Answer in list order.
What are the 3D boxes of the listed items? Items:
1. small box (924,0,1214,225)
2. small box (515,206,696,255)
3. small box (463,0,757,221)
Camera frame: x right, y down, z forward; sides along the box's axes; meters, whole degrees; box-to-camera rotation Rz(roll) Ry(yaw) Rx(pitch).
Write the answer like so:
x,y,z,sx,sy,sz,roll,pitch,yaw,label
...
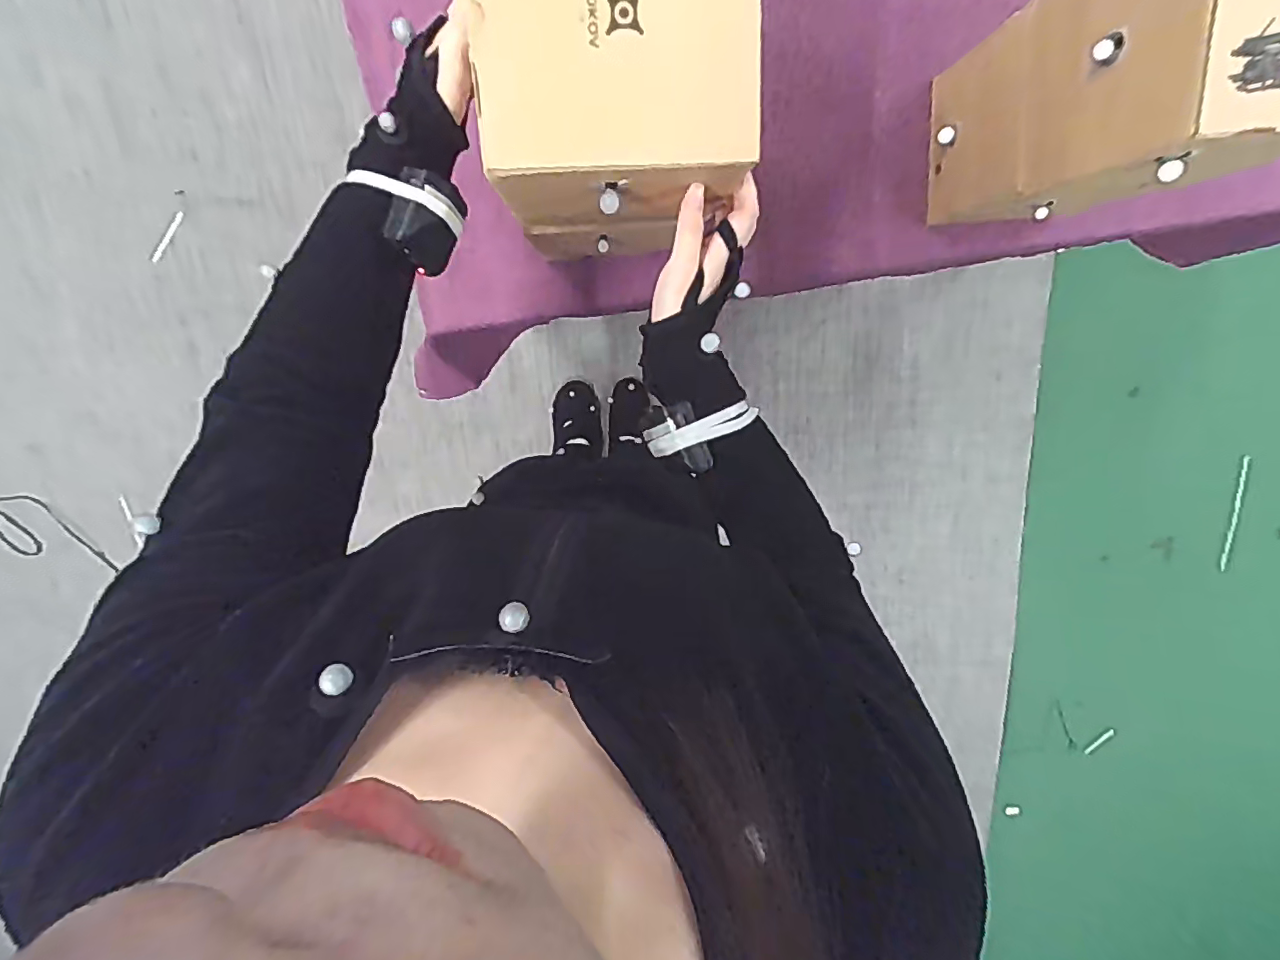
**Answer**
x,y,z,sx,sy,sz,roll,pitch,yaw,label
0.444,-0.389,0.591,0.179,0.176,0.168,-6,104,0,small box
-0.039,-0.344,0.578,0.179,0.176,0.168,-5,105,-1,small box
-0.020,-0.297,0.398,0.179,0.176,0.168,-3,105,-1,small box
